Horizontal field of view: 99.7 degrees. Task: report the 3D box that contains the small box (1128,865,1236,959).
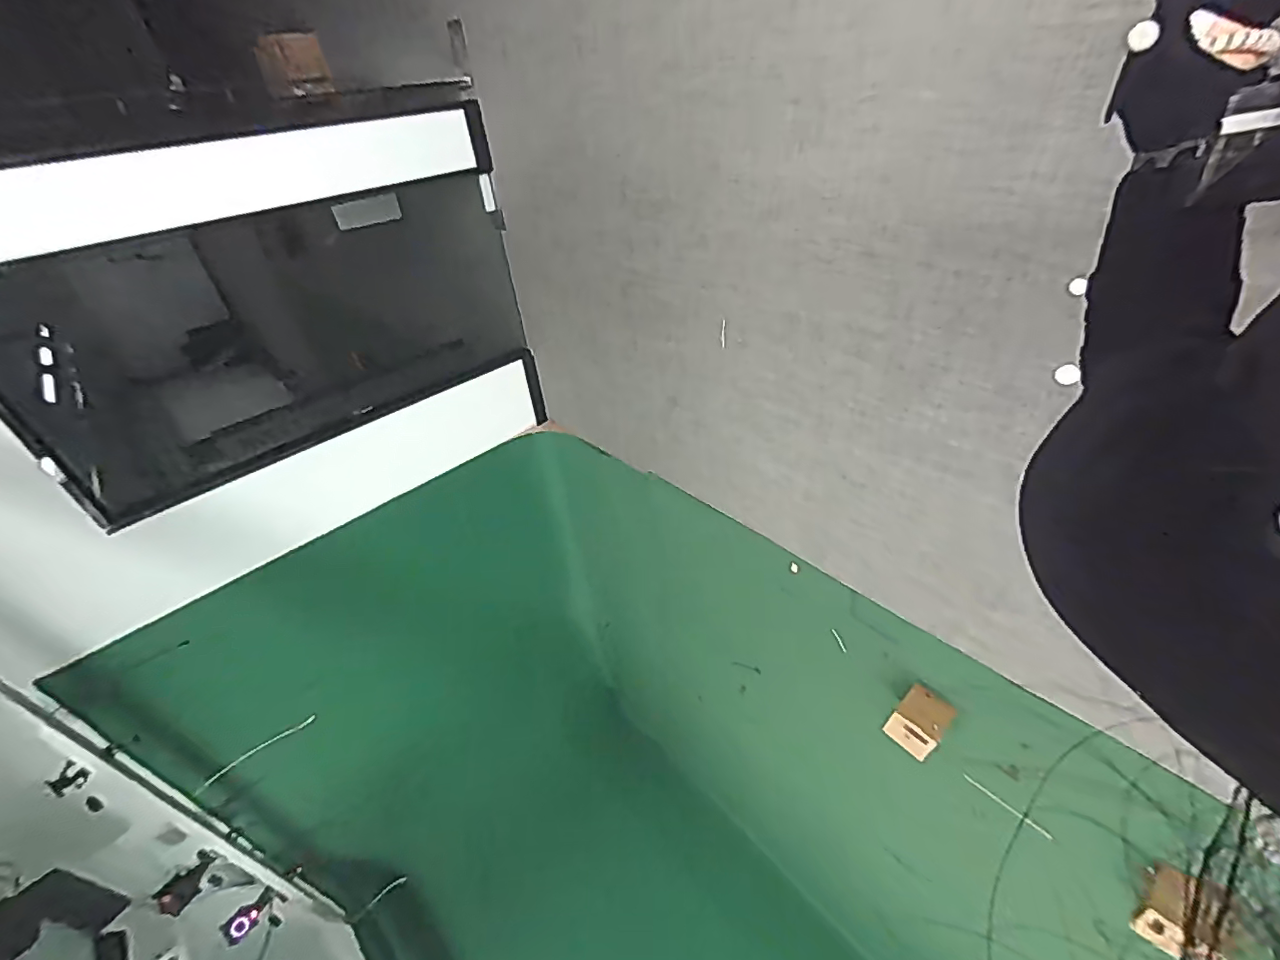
[{"bbox_3d":[1.645,1.319,1.643,0.179,0.176,0.168,27,139,38],"label":"small box"}]
